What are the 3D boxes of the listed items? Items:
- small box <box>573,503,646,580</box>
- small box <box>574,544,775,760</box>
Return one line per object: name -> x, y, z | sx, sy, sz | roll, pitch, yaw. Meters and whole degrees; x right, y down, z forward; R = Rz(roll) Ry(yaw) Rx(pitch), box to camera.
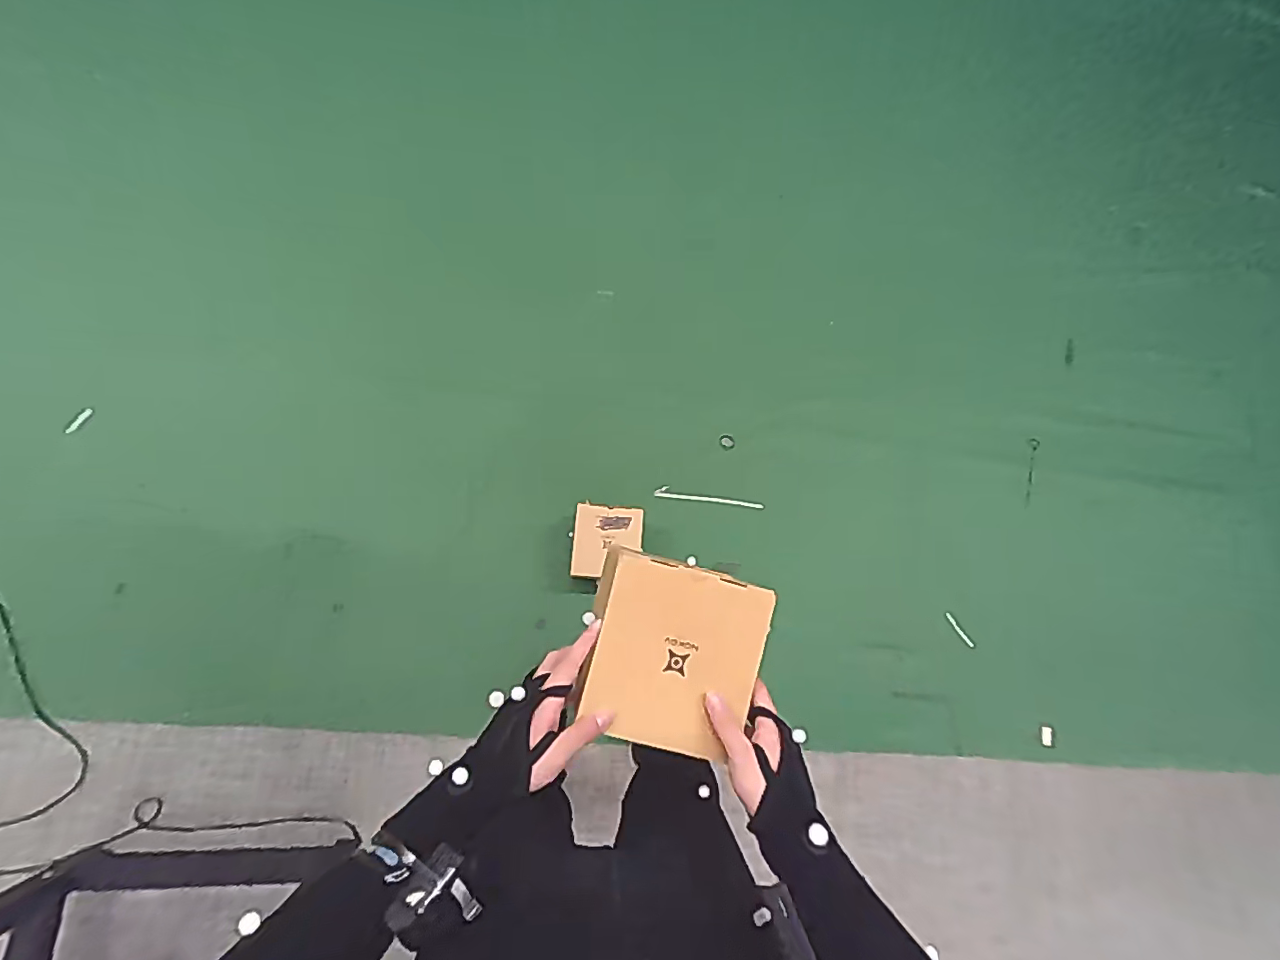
small box -> -0.082, 0.164, 1.381 | 0.168, 0.176, 0.179 | 5, 79, -6
small box -> 0.029, 0.178, 0.612 | 0.168, 0.176, 0.179 | 16, 83, -5
